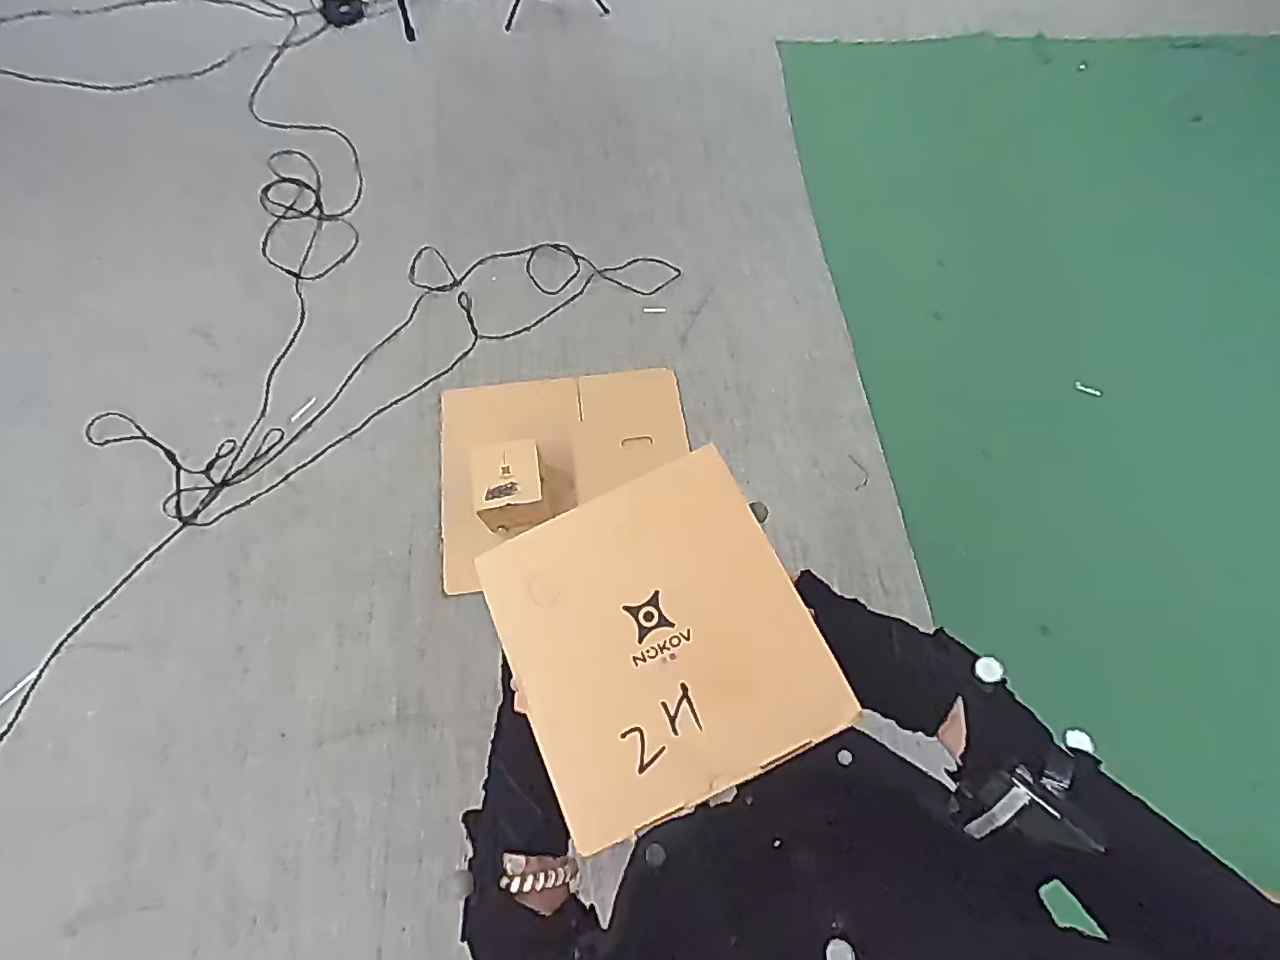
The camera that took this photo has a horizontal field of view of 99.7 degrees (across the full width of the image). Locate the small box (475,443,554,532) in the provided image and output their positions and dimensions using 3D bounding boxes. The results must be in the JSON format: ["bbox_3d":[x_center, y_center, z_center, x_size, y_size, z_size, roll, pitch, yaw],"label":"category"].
[{"bbox_3d":[-0.321,0.026,1.399,0.168,0.176,0.179,-9,67,-4],"label":"small box"}]

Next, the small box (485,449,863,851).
[{"bbox_3d":[0.019,0.111,0.383,0.168,0.176,0.179,-25,71,-2],"label":"small box"}]
